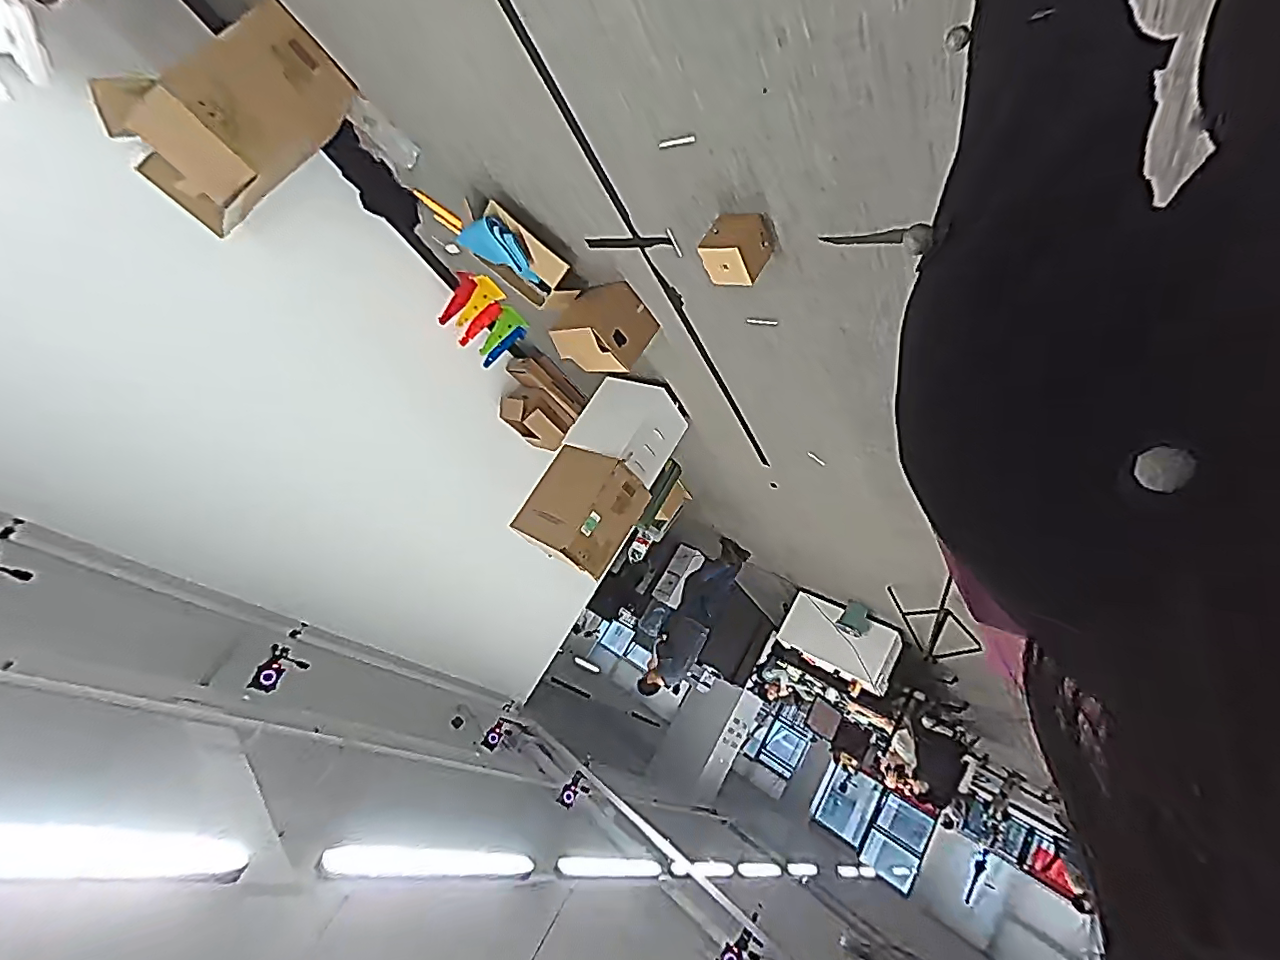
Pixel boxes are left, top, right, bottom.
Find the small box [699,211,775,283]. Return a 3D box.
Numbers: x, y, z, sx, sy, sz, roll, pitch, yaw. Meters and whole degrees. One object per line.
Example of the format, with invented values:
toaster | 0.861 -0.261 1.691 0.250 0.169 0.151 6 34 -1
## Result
small box | 0.346 -0.821 1.910 0.179 0.176 0.168 19 161 41
